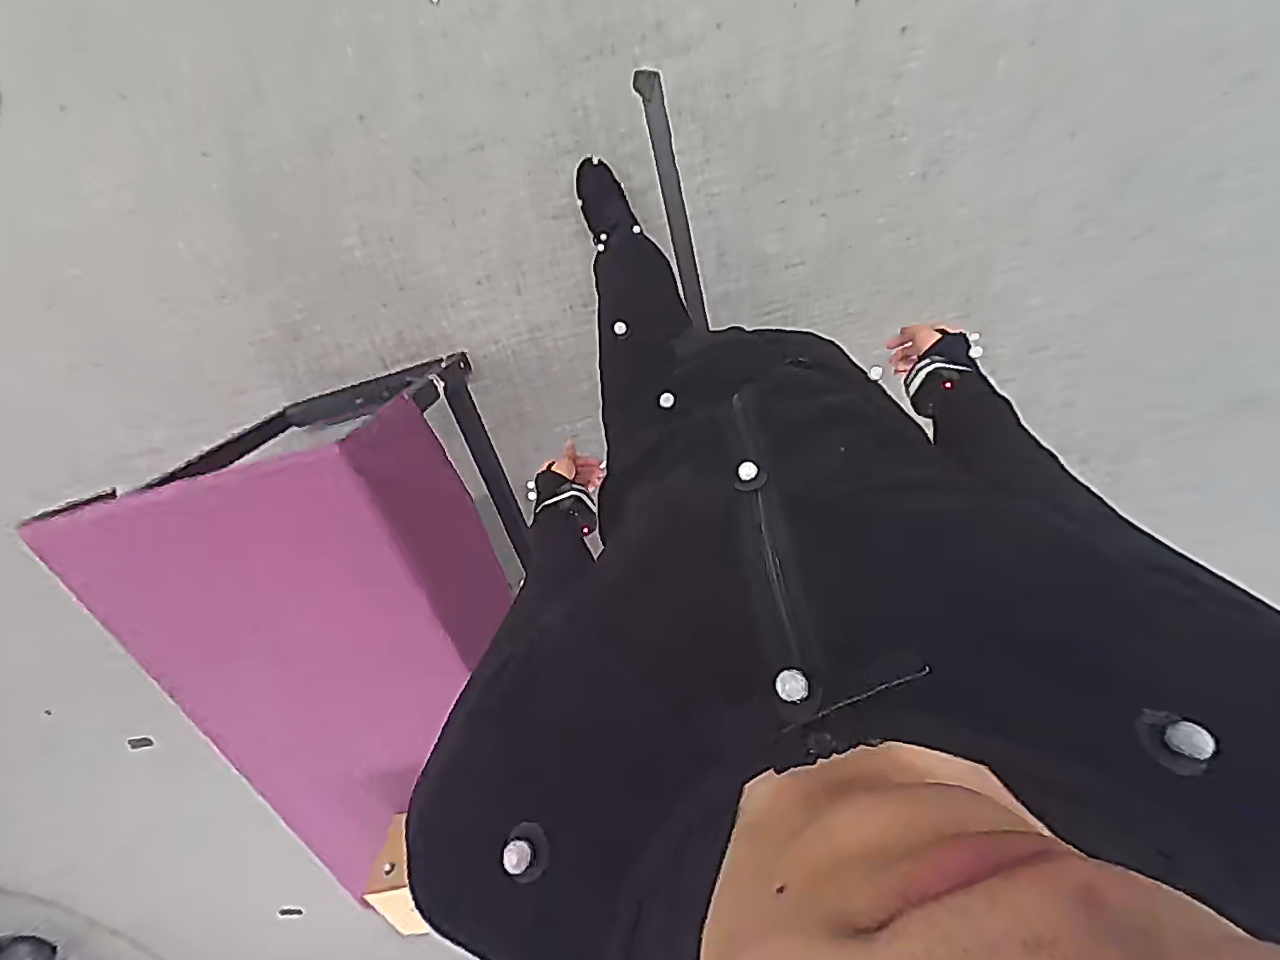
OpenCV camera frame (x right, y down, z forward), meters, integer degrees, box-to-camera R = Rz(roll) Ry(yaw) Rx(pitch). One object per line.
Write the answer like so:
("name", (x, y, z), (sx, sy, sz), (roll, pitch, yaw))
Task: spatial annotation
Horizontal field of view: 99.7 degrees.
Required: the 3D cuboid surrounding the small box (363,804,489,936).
("small box", (-0.461, 0.857, 1.197), (0.179, 0.176, 0.168), (-18, 115, 8))
